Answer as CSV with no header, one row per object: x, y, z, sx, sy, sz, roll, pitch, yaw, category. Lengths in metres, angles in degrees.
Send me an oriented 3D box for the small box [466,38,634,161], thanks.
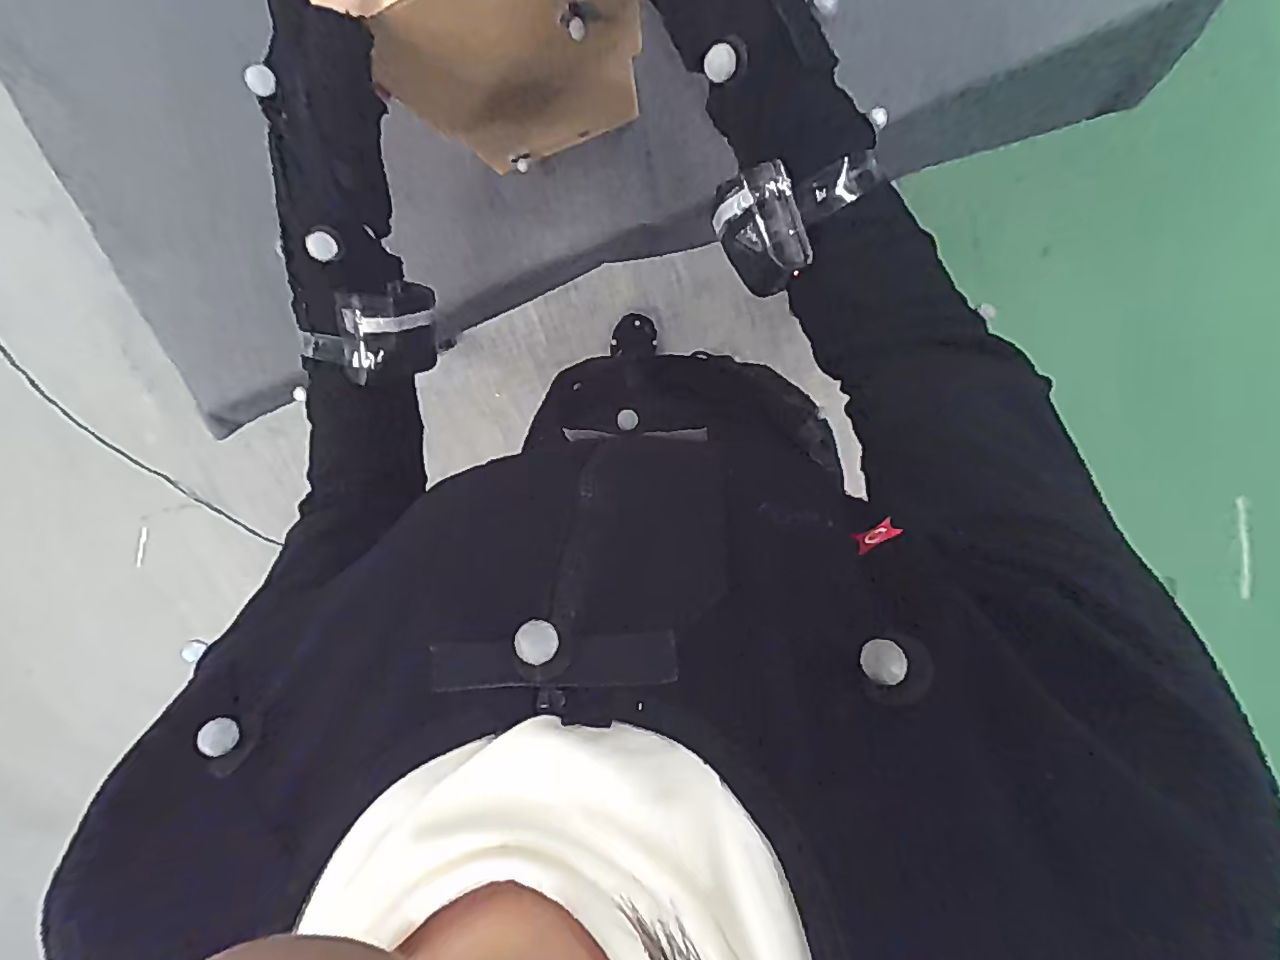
-0.109,-0.422,0.495,0.168,0.176,0.179,-18,104,7,small box

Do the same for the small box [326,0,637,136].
-0.107,-0.354,0.329,0.179,0.176,0.168,-24,103,8,small box
